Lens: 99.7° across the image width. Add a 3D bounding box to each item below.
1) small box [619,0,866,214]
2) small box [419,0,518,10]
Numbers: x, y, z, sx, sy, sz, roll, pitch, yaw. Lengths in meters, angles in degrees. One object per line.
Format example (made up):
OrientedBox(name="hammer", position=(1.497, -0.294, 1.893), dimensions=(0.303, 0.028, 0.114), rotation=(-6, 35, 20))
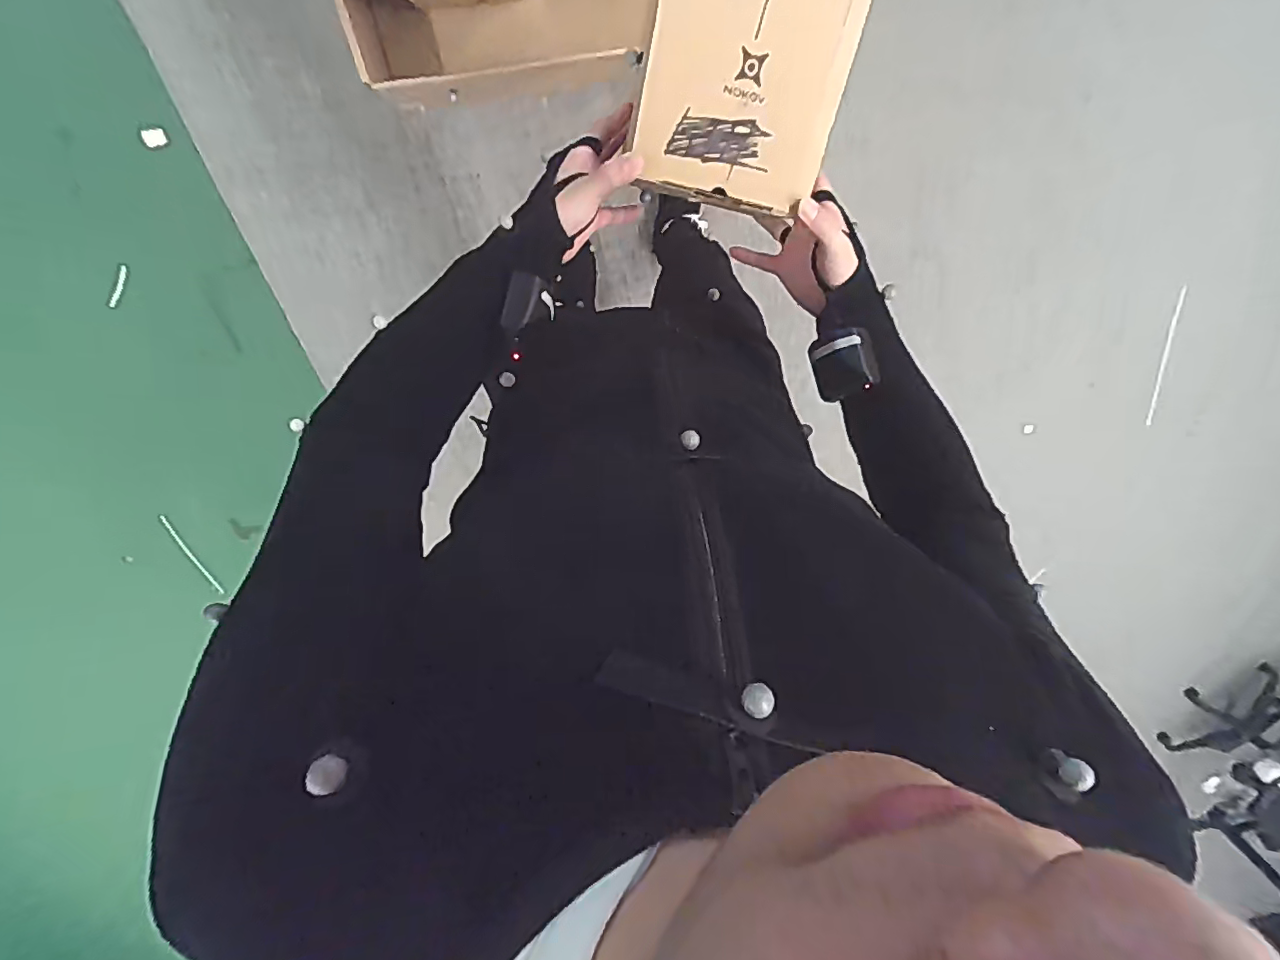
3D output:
OrientedBox(name="small box", position=(0.076, -0.365, 0.509), dimensions=(0.168, 0.176, 0.179), rotation=(9, 116, -10))
OrientedBox(name="small box", position=(-0.256, -0.758, 0.710), dimensions=(0.168, 0.176, 0.179), rotation=(-7, 120, -2))
